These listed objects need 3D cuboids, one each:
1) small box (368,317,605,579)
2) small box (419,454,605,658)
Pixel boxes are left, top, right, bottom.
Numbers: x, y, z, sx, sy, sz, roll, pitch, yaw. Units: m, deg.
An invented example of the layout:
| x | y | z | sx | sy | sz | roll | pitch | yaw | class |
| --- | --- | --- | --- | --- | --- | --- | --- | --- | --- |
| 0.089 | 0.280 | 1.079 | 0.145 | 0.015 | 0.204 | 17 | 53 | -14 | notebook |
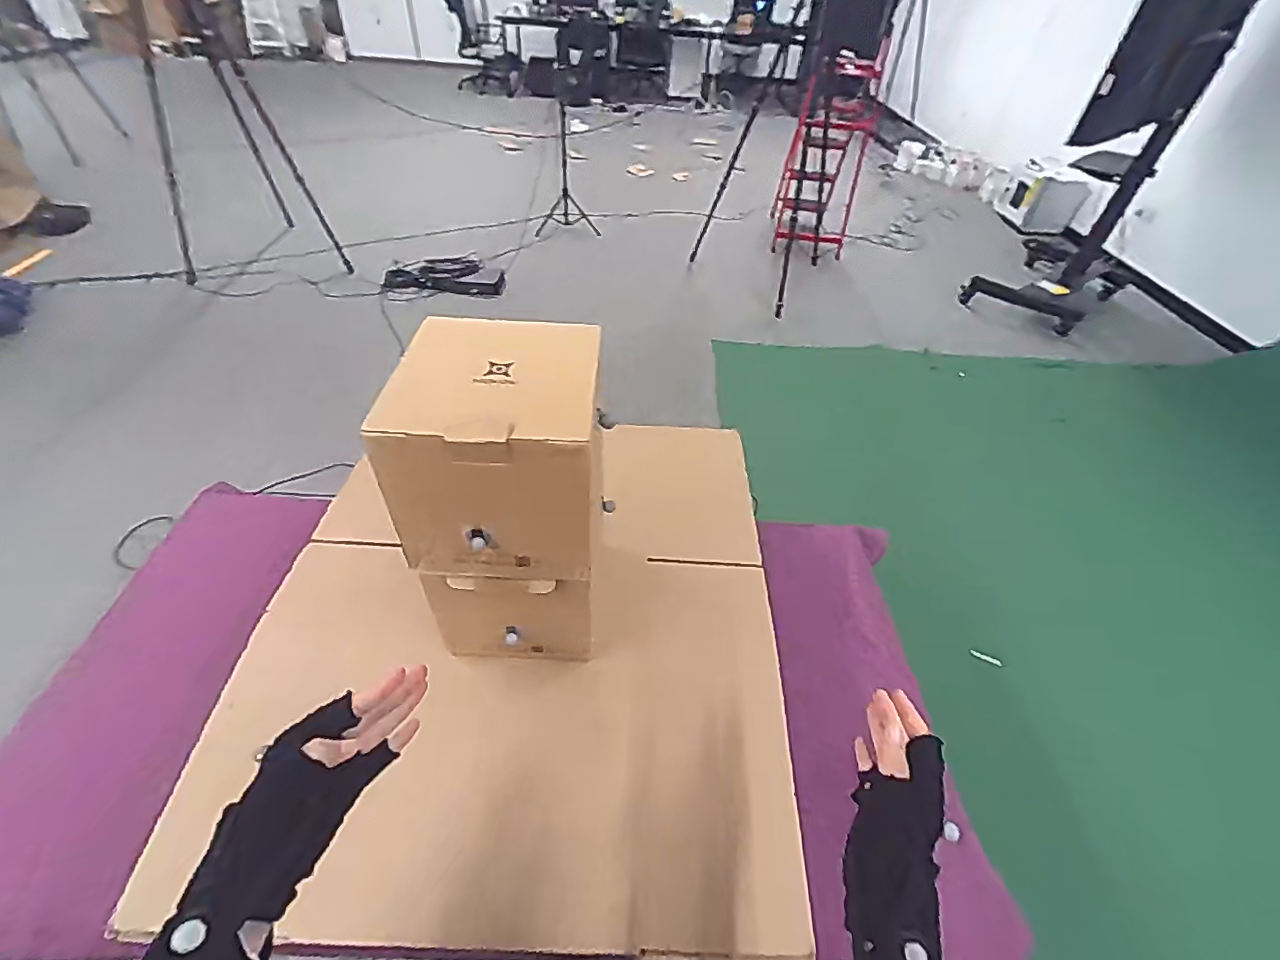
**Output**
| x | y | z | sx | sy | sz | roll | pitch | yaw | class |
| --- | --- | --- | --- | --- | --- | --- | --- | --- | --- |
| -0.122 | -0.030 | 0.507 | 0.168 | 0.176 | 0.179 | 2 | 45 | -3 | small box |
| -0.130 | 0.081 | 0.626 | 0.168 | 0.176 | 0.179 | 3 | 44 | 0 | small box |
